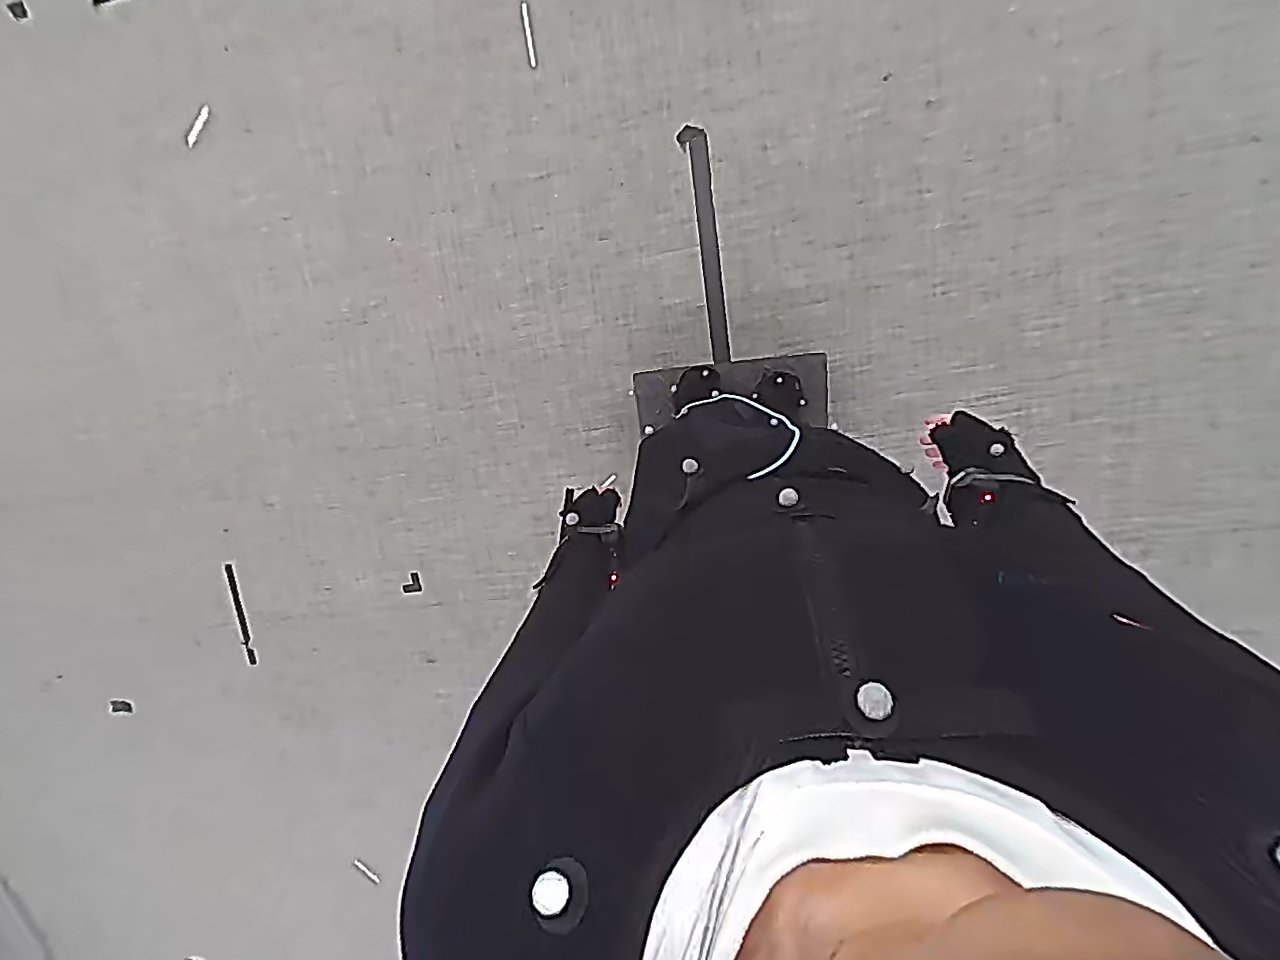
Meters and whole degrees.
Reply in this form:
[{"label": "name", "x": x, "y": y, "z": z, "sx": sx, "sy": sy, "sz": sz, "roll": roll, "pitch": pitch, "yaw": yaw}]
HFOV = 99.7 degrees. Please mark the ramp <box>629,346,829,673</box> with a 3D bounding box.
[{"label": "ramp", "x": 0.281, "y": 0.147, "z": 1.544, "sx": 0.509, "sy": 0.206, "sz": 0.991, "roll": -6, "pitch": 101, "yaw": 10}]
